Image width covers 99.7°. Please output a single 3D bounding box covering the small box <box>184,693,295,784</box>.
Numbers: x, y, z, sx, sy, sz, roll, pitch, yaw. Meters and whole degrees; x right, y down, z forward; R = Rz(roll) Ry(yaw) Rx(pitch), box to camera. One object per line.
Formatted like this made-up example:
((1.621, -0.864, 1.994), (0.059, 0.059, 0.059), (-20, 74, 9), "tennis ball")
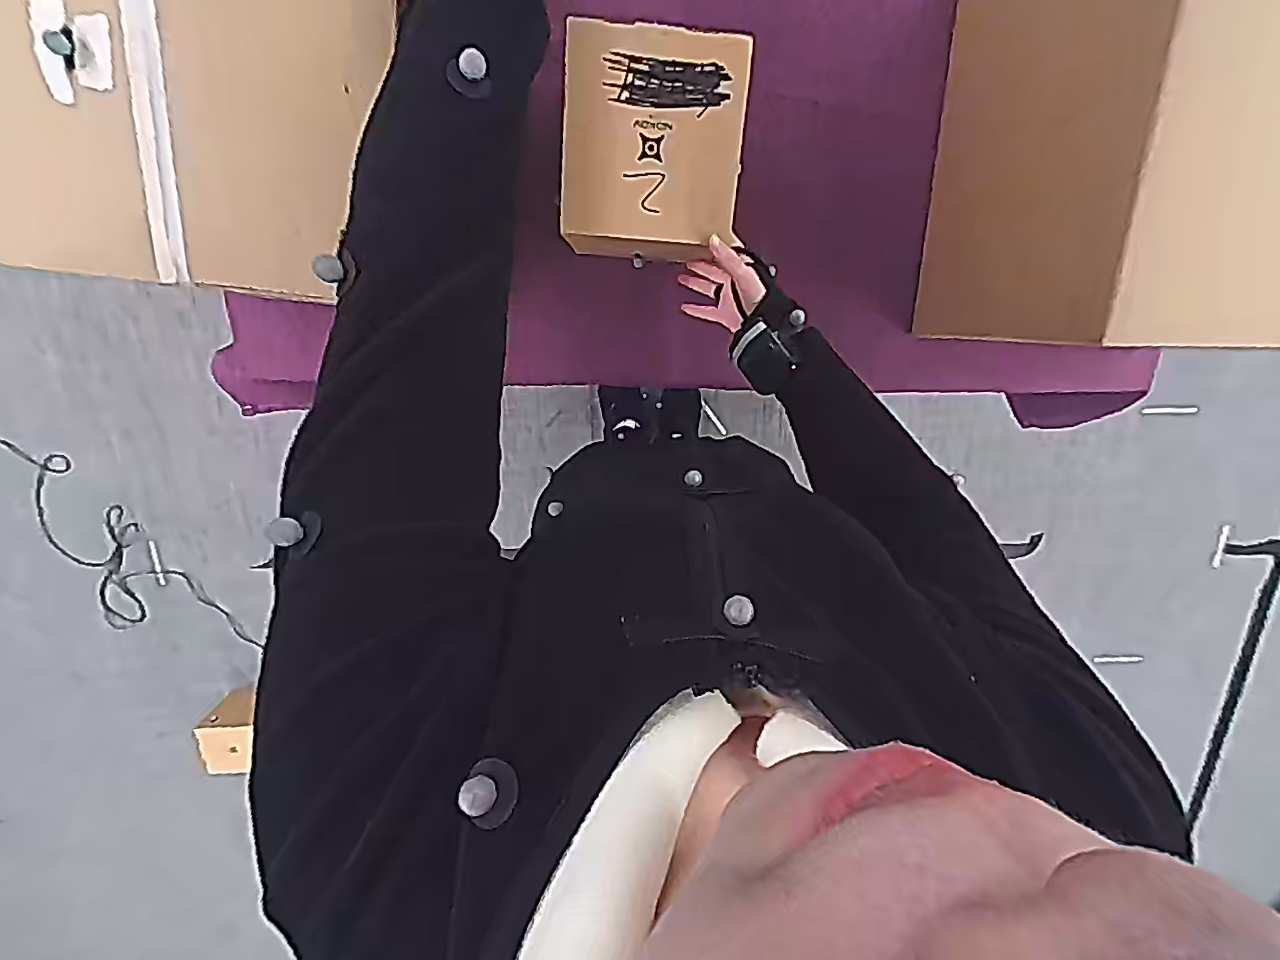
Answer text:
((-1.176, 0.759, 1.585), (0.168, 0.176, 0.179), (3, 127, 17), "small box")
